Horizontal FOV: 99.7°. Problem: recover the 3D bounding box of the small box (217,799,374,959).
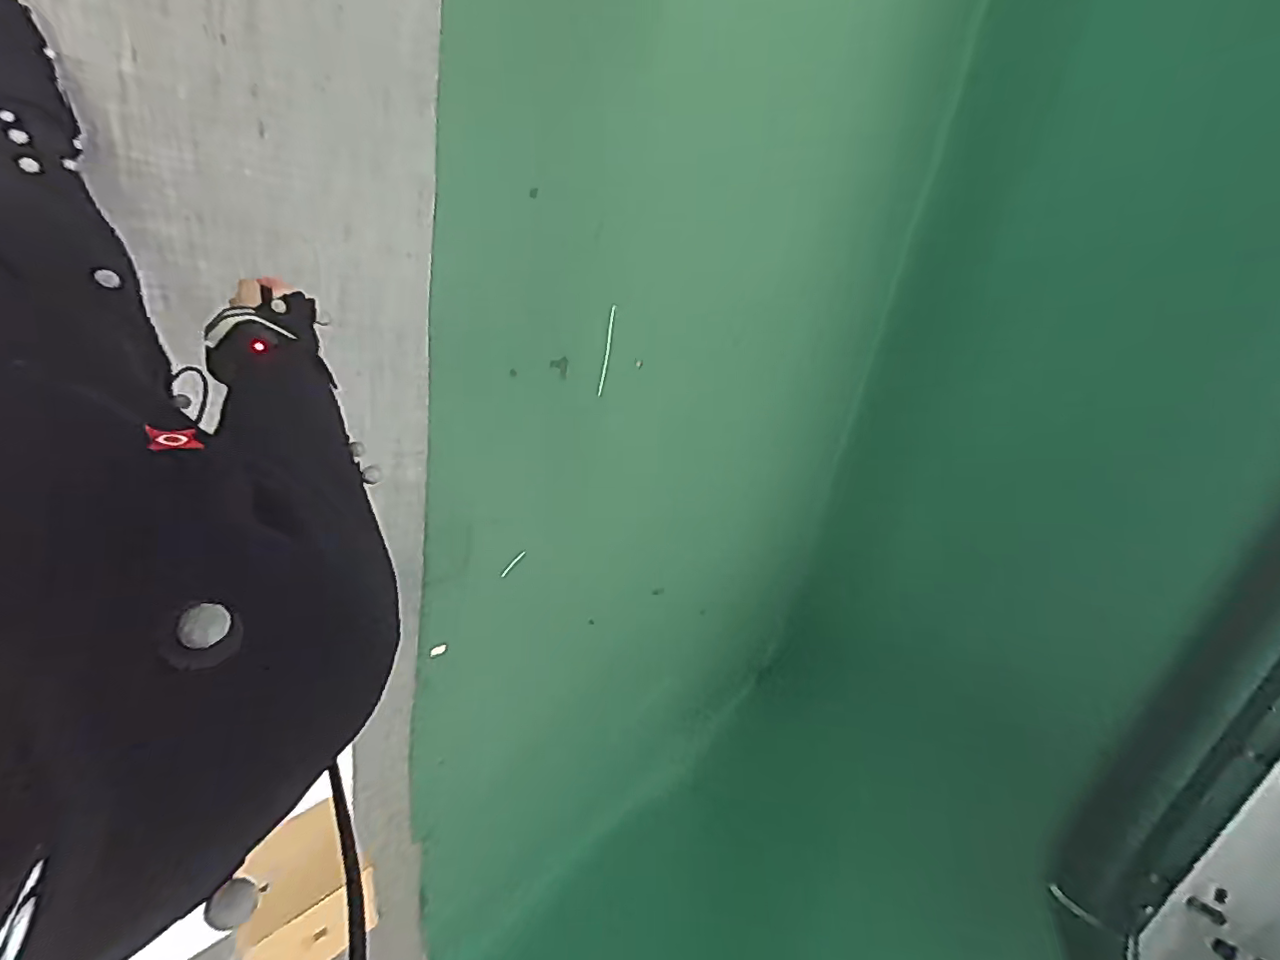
[{"bbox_3d":[-0.565,0.681,0.888,0.179,0.176,0.168,-18,125,-45],"label":"small box"}]
